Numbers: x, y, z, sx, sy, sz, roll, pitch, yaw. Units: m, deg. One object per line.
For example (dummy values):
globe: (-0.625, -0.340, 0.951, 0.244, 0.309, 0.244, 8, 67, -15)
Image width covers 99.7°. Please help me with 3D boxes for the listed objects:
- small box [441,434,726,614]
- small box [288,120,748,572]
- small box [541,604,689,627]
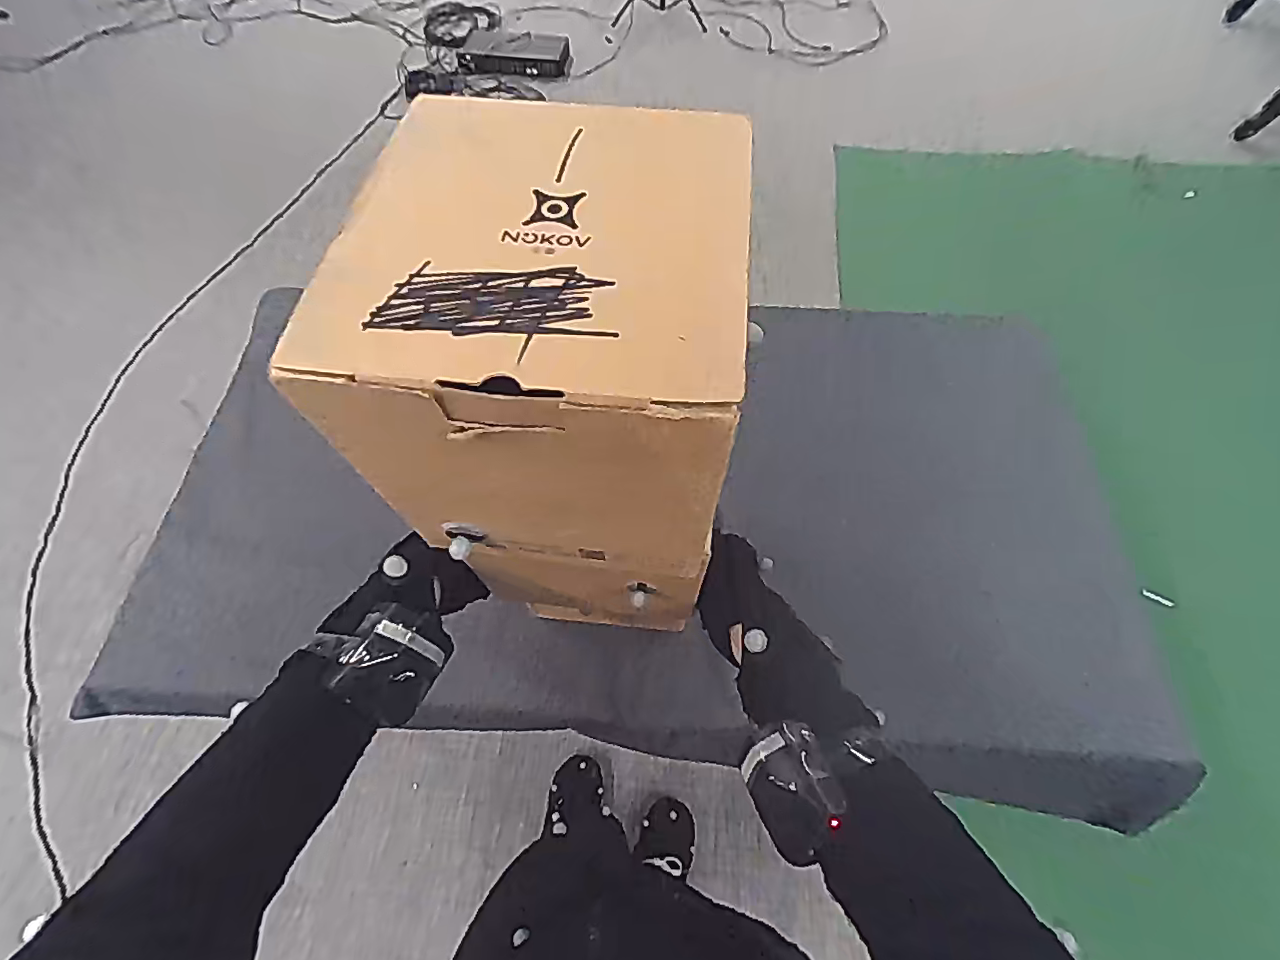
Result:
small box: (-0.032, 0.005, 0.433, 0.179, 0.176, 0.168, 2, 63, 1)
small box: (-0.038, -0.061, 0.300, 0.168, 0.176, 0.179, 6, 61, 3)
small box: (-0.028, 0.062, 0.607, 0.179, 0.176, 0.168, 2, 61, 1)
